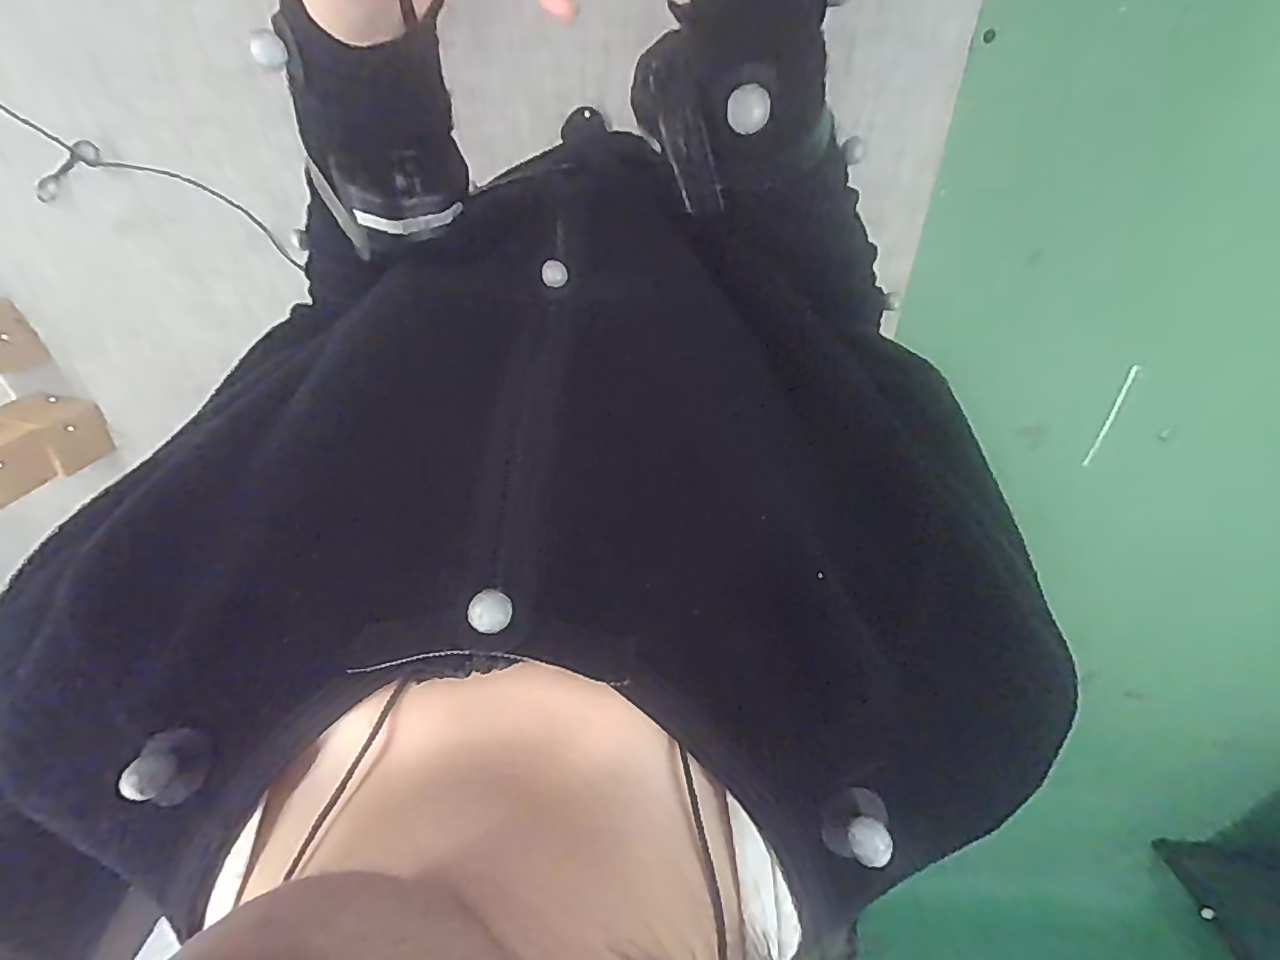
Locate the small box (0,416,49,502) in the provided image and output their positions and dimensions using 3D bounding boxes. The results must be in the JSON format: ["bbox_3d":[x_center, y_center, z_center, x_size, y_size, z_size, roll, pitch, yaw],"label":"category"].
[{"bbox_3d":[-1.712,-0.057,1.404,0.168,0.176,0.179,15,121,-7],"label":"small box"}]

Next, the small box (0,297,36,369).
[{"bbox_3d":[-1.740,-0.369,1.391,0.179,0.176,0.168,-6,123,5],"label":"small box"}]
